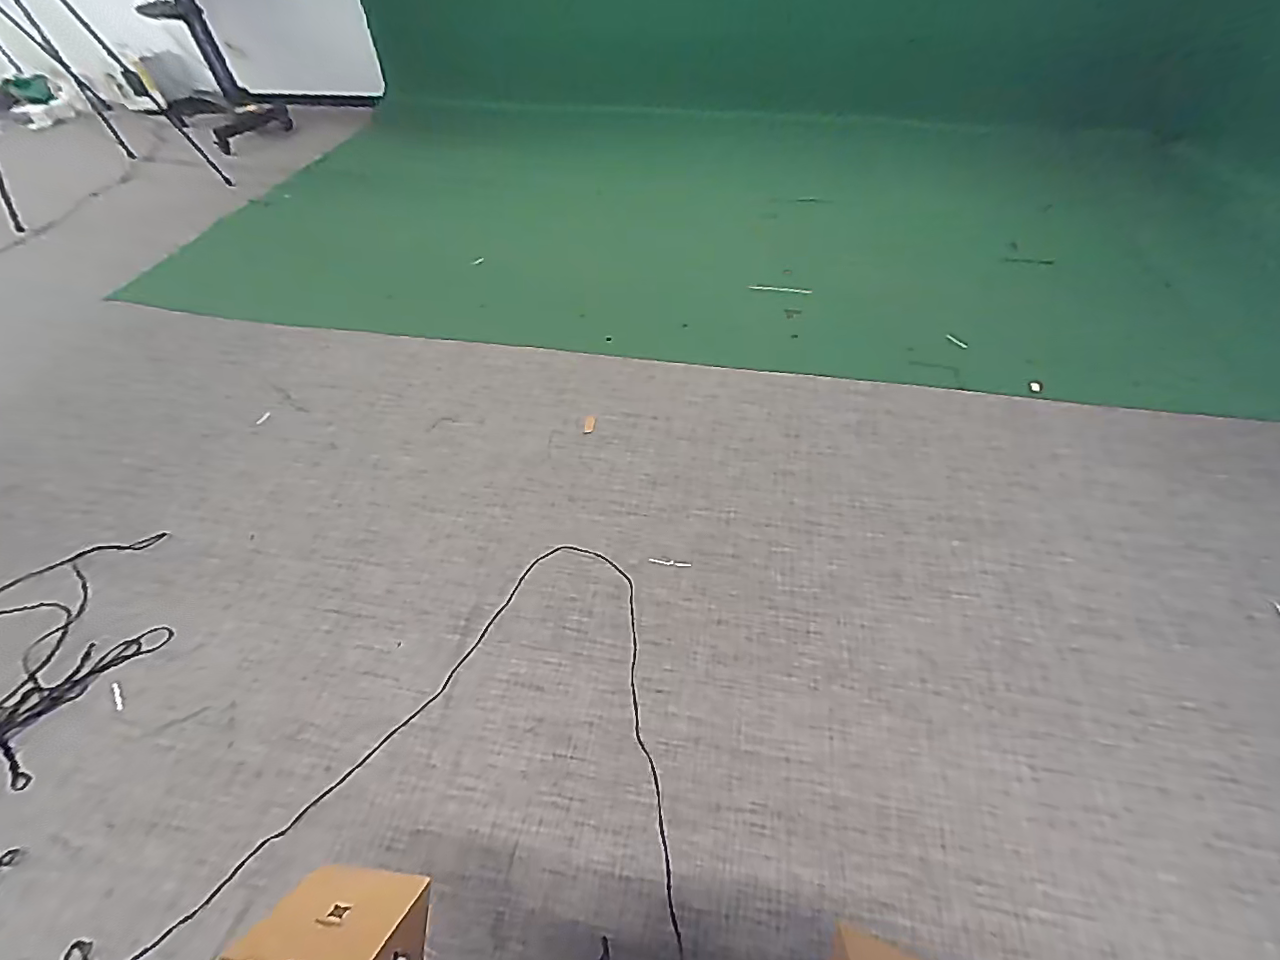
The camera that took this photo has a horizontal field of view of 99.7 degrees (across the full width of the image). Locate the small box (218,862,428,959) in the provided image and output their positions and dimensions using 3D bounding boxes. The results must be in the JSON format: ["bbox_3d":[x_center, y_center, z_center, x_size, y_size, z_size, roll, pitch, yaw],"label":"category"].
[{"bbox_3d":[-0.384,0.615,0.658,0.168,0.179,0.176,4,86,4],"label":"small box"}]
